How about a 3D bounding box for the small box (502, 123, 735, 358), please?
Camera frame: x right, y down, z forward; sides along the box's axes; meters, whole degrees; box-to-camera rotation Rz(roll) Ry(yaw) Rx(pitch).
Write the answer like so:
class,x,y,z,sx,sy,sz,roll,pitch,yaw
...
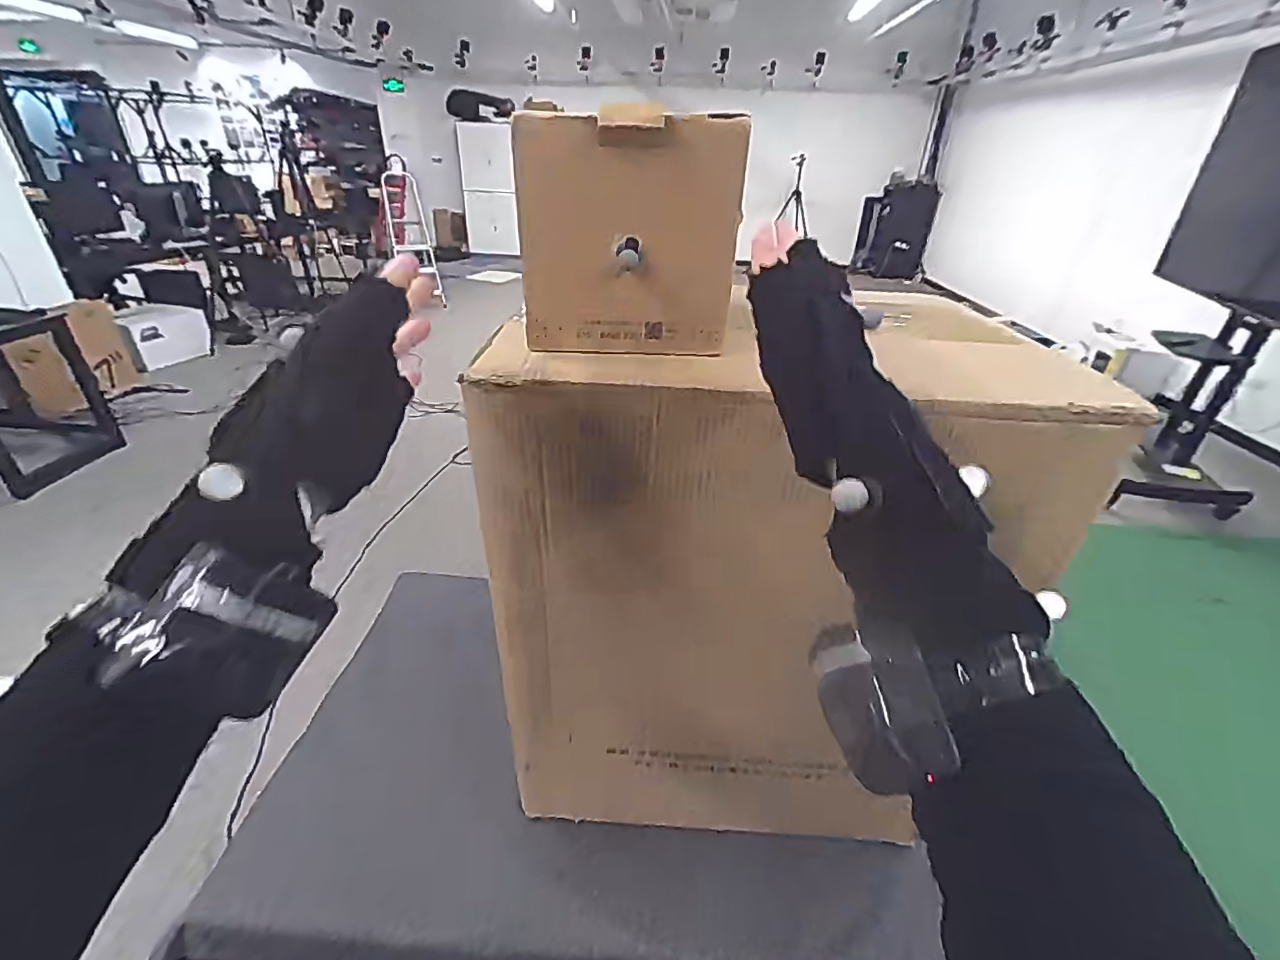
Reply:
class,x,y,z,sx,sy,sz,roll,pitch,yaw
small box,-0.014,-0.216,0.484,0.168,0.176,0.179,1,34,0
